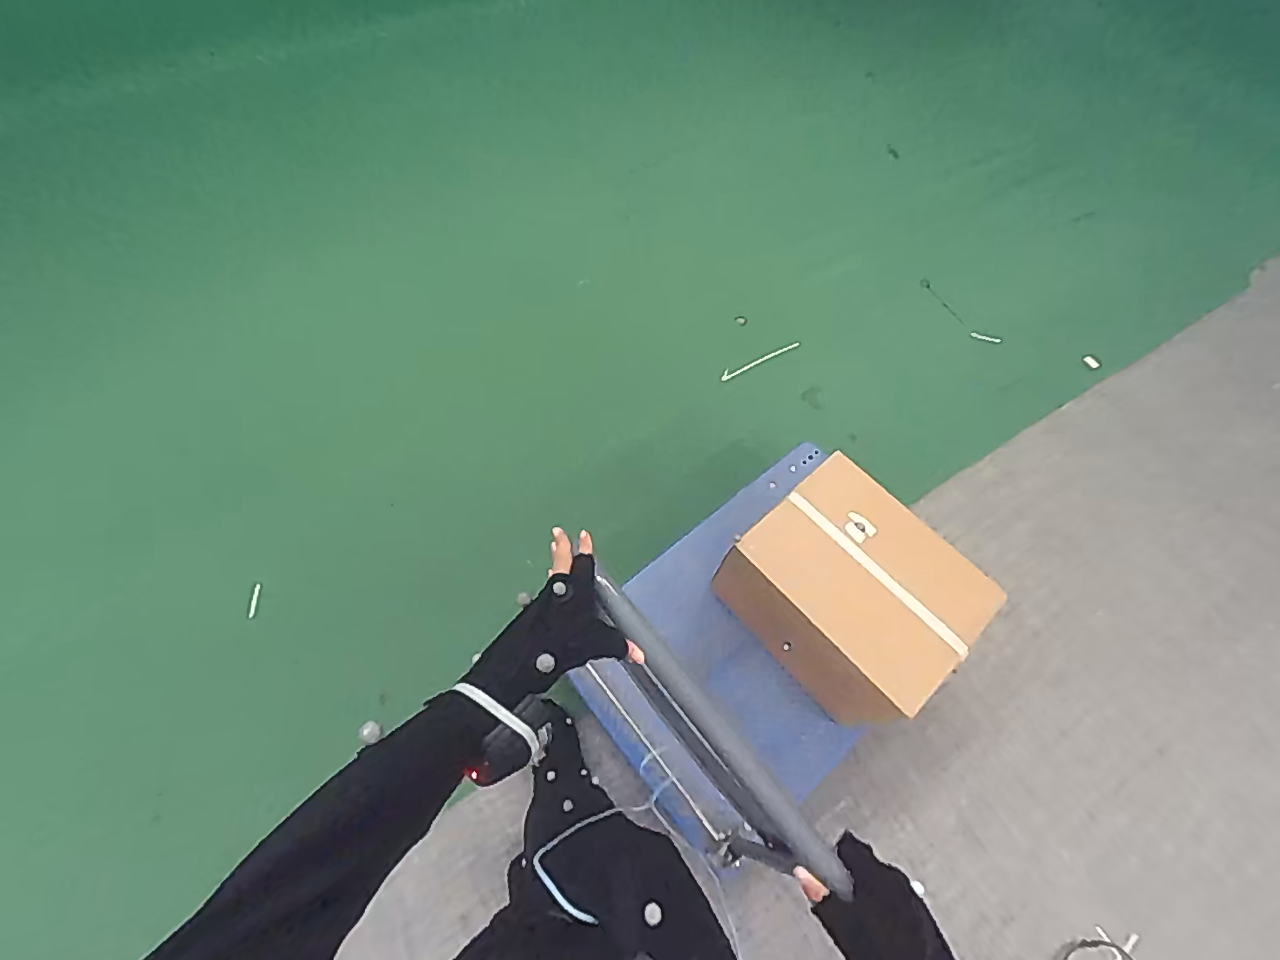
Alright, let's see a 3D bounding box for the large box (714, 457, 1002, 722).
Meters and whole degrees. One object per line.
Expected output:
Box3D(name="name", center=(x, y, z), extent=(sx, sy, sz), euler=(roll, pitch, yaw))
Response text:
Box3D(name="large box", center=(0.419, 0.237, 1.134), extent=(0.320, 0.320, 0.408), euler=(-38, 70, -20))
